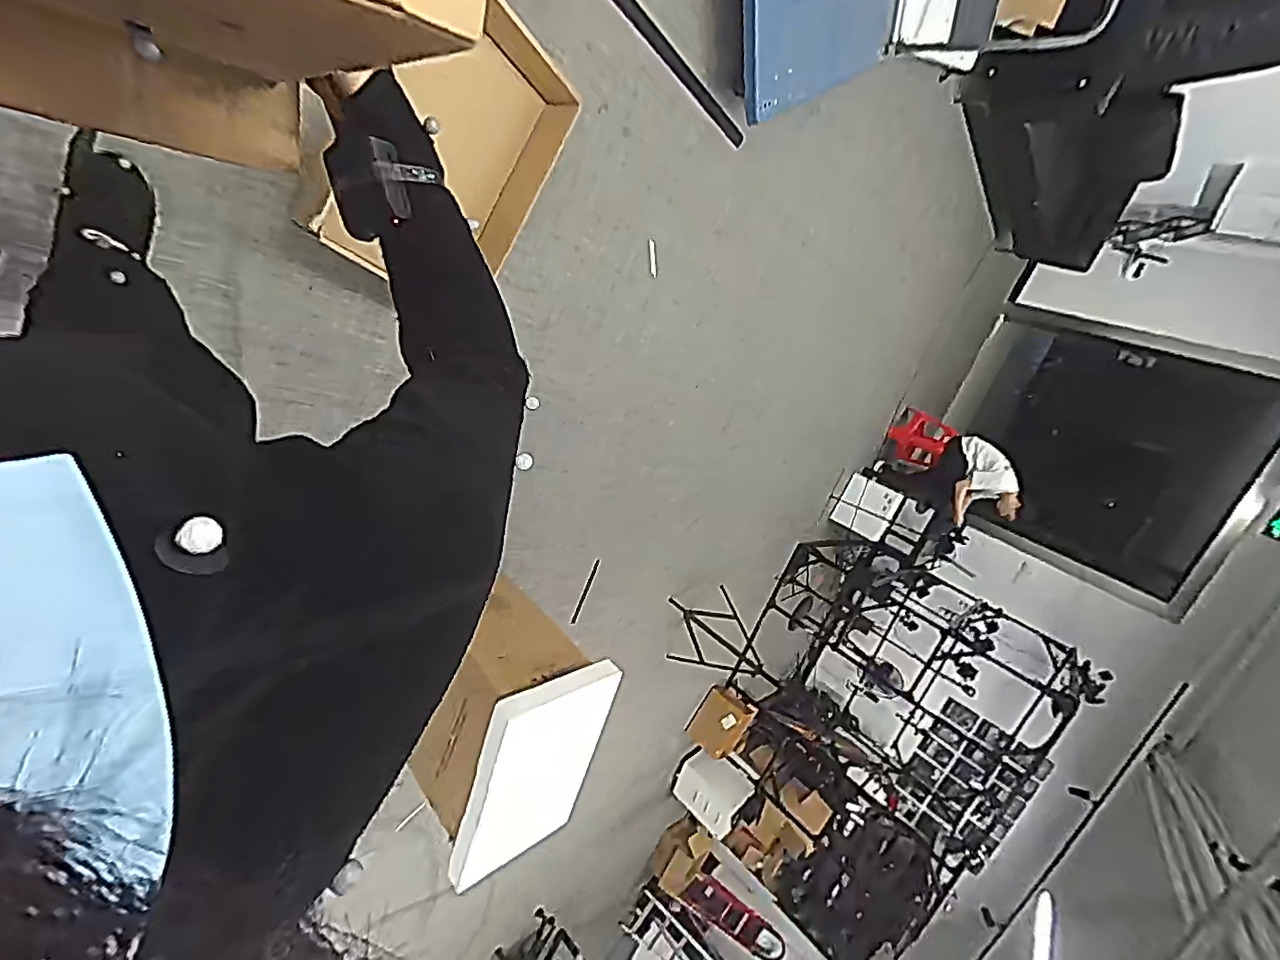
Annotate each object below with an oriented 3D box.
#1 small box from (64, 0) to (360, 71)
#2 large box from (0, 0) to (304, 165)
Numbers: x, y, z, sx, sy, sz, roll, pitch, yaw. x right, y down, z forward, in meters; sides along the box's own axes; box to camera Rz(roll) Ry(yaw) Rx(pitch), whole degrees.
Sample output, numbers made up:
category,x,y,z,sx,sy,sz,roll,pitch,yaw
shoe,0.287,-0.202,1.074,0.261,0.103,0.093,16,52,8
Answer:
category,x,y,z,sx,sy,sz,roll,pitch,yaw
small box,-0.258,-0.346,0.279,0.168,0.176,0.179,-9,122,-43
large box,-0.493,-0.441,0.359,0.408,0.320,0.320,-9,121,-43
